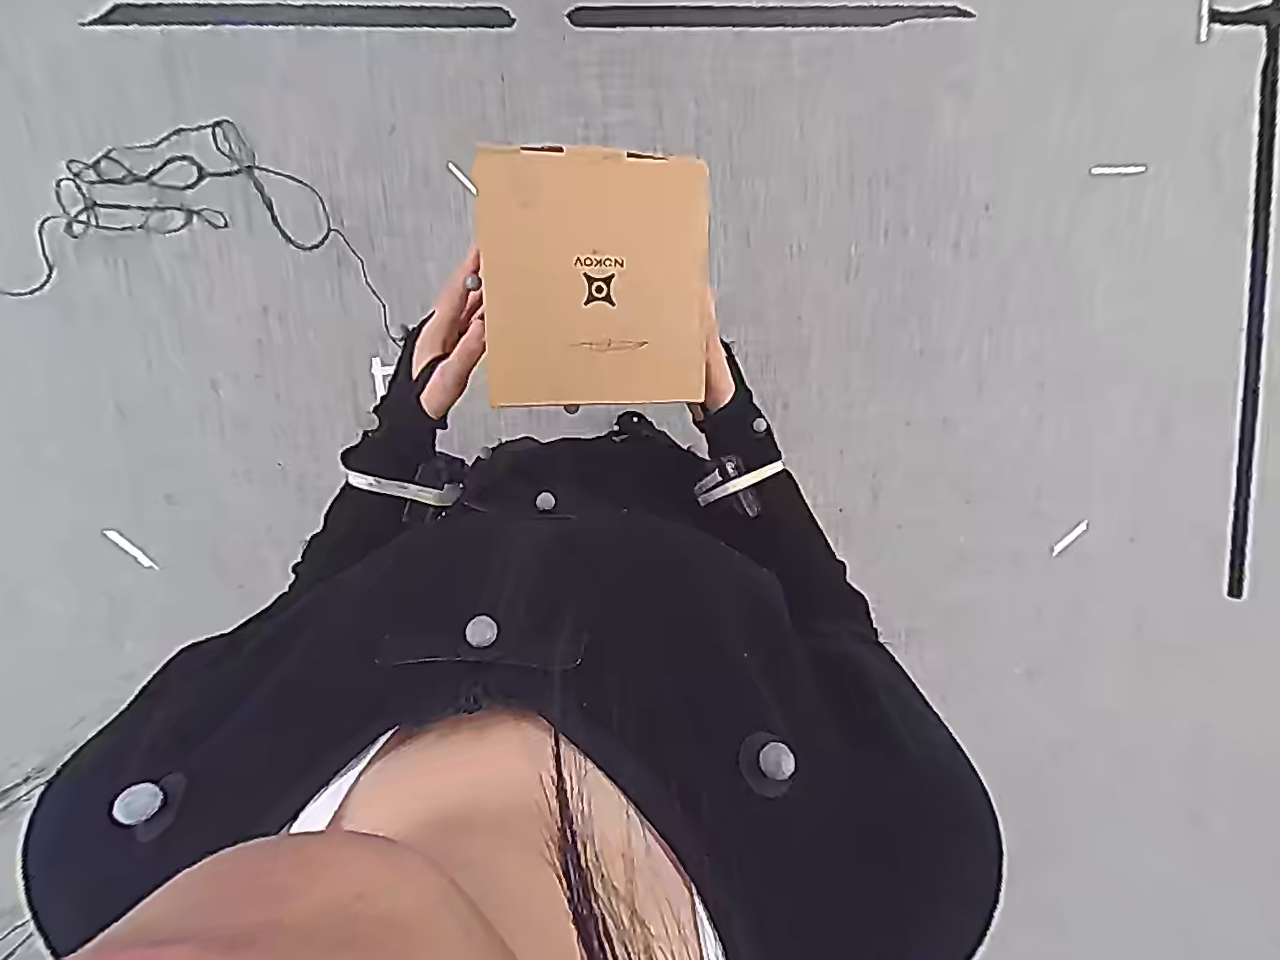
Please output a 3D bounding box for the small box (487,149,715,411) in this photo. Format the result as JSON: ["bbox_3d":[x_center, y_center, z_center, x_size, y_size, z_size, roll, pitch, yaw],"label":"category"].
[{"bbox_3d":[-0.042,-0.153,0.468,0.168,0.176,0.179,-2,102,-12],"label":"small box"}]

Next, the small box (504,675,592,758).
[{"bbox_3d":[-0.185,0.518,1.123,0.168,0.176,0.179,-1,95,-3],"label":"small box"}]

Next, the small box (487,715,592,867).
[{"bbox_3d":[-0.170,0.536,0.960,0.168,0.176,0.179,-2,97,-4],"label":"small box"}]
